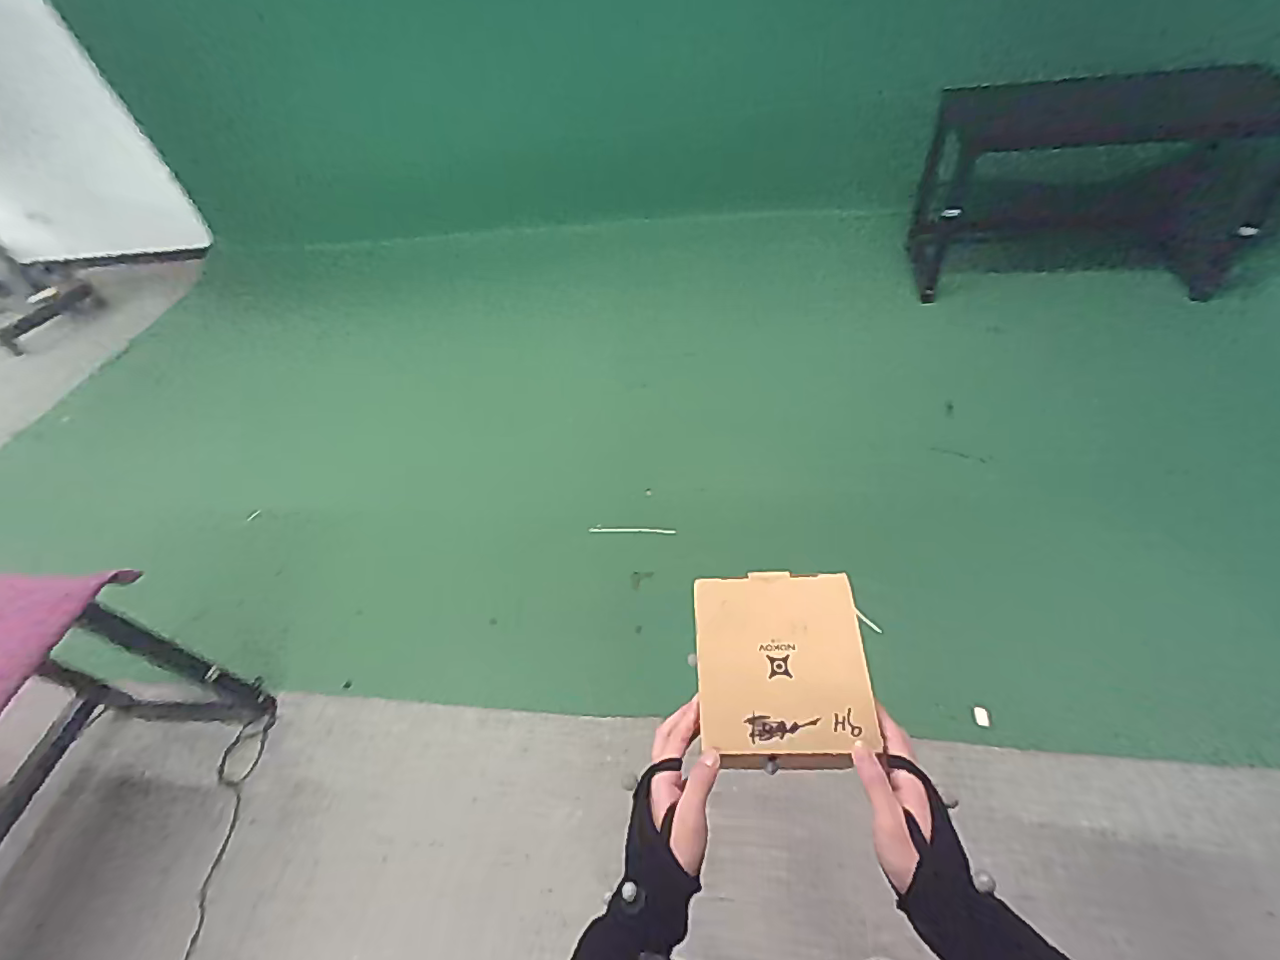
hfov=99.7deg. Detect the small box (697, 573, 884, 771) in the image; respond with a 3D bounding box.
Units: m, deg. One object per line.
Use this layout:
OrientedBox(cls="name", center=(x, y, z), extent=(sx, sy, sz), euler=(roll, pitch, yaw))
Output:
OrientedBox(cls="small box", center=(0.148, 0.217, 0.600), extent=(0.168, 0.176, 0.179), euler=(-4, 58, 7))
